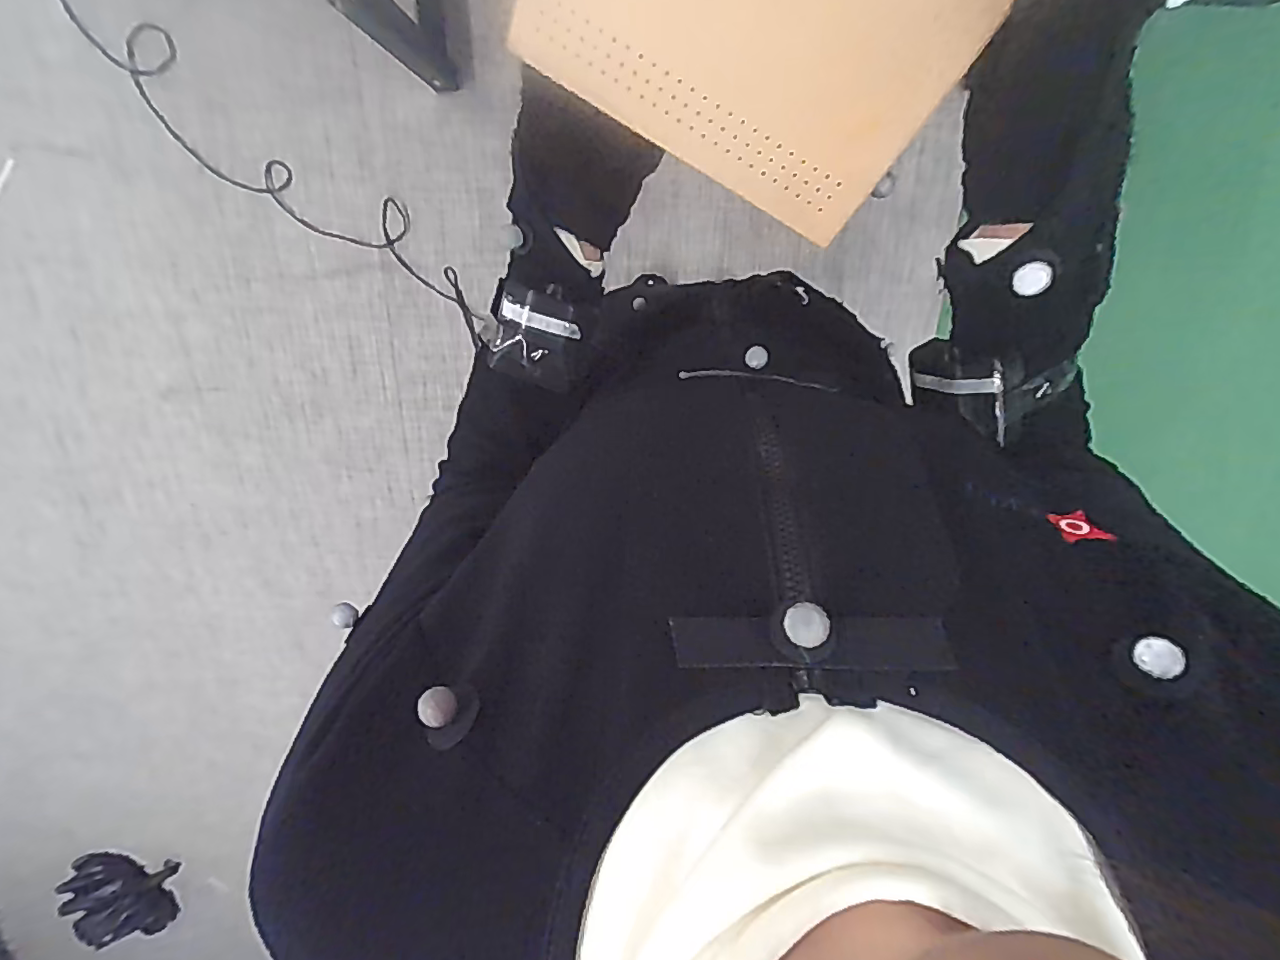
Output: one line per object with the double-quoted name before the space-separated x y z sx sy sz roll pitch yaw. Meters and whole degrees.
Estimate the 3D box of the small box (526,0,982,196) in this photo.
"small box" 0.070 -0.267 0.256 0.179 0.168 0.176 27 138 -8
